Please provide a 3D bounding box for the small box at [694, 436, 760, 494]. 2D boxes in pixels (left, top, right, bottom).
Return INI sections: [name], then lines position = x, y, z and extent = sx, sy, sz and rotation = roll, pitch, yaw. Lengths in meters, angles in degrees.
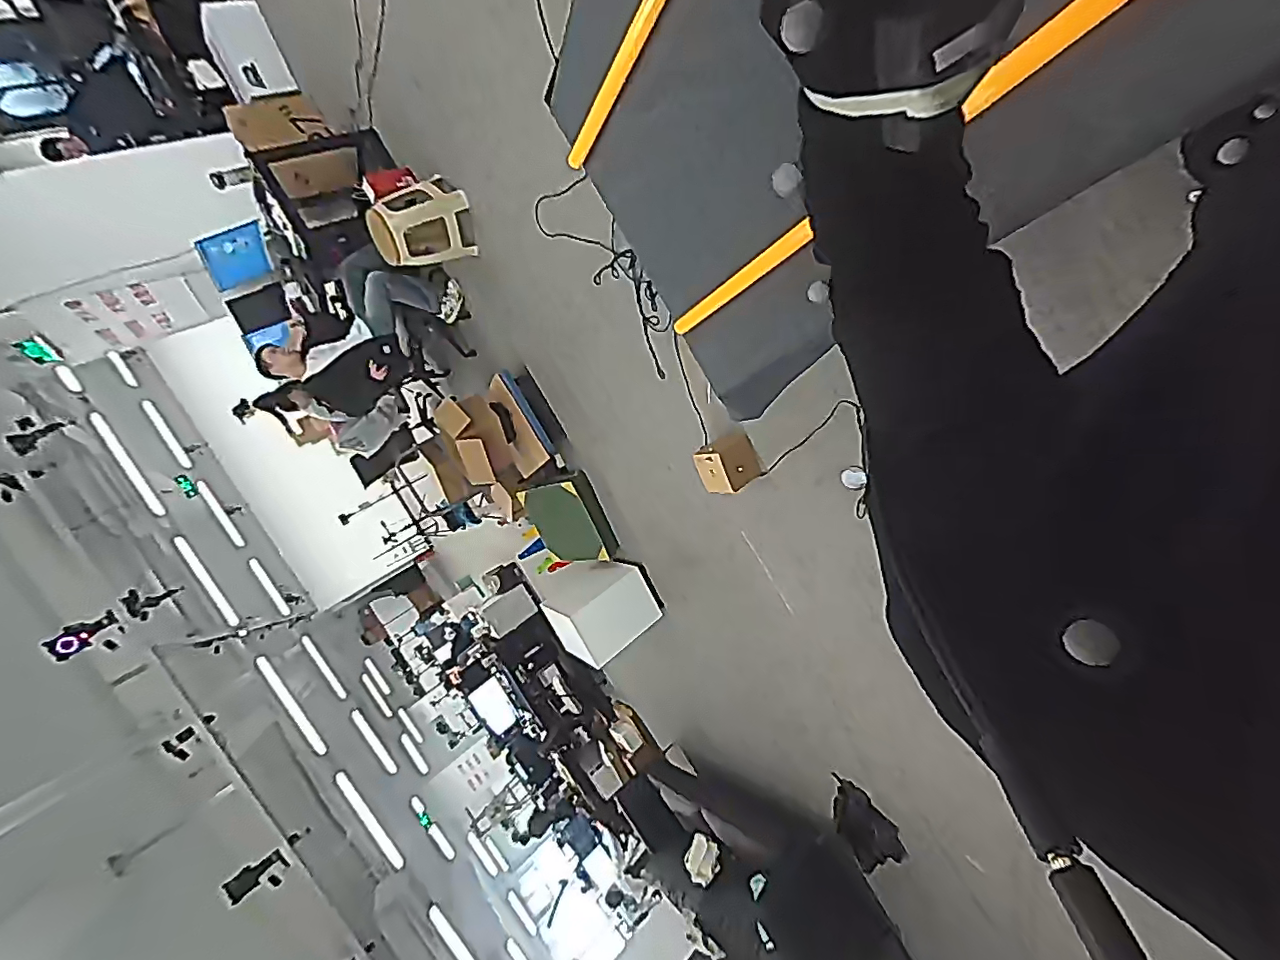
[small box]
position = 0.353, -0.062, 2.160
extent = 0.168, 0.176, 0.179
rotation = 1, 119, 58
